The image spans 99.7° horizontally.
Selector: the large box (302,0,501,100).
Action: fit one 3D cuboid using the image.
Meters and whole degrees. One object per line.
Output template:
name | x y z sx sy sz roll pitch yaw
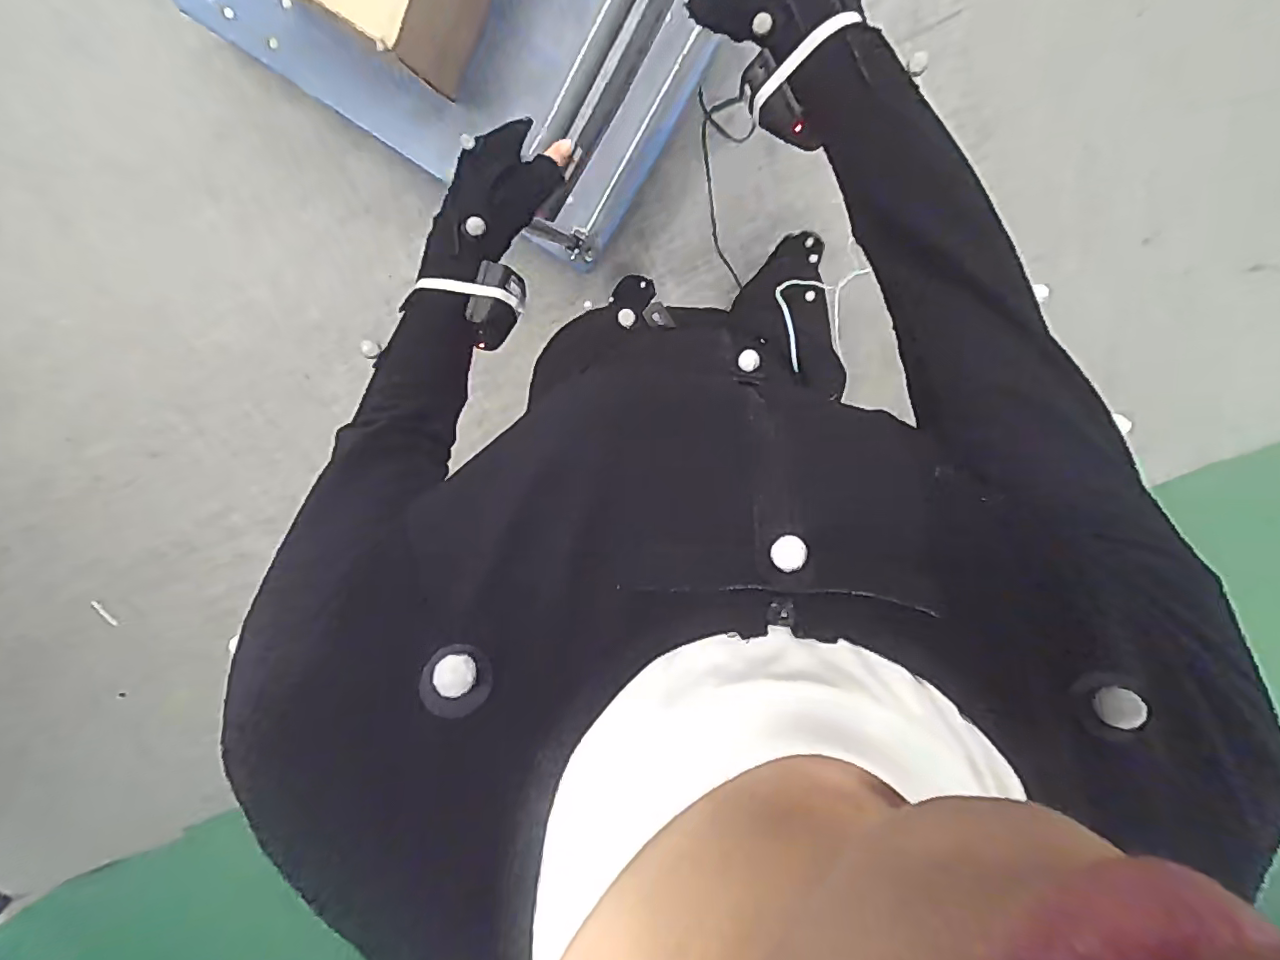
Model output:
large box | -0.367 -0.885 0.797 0.320 0.320 0.408 28 111 -12
